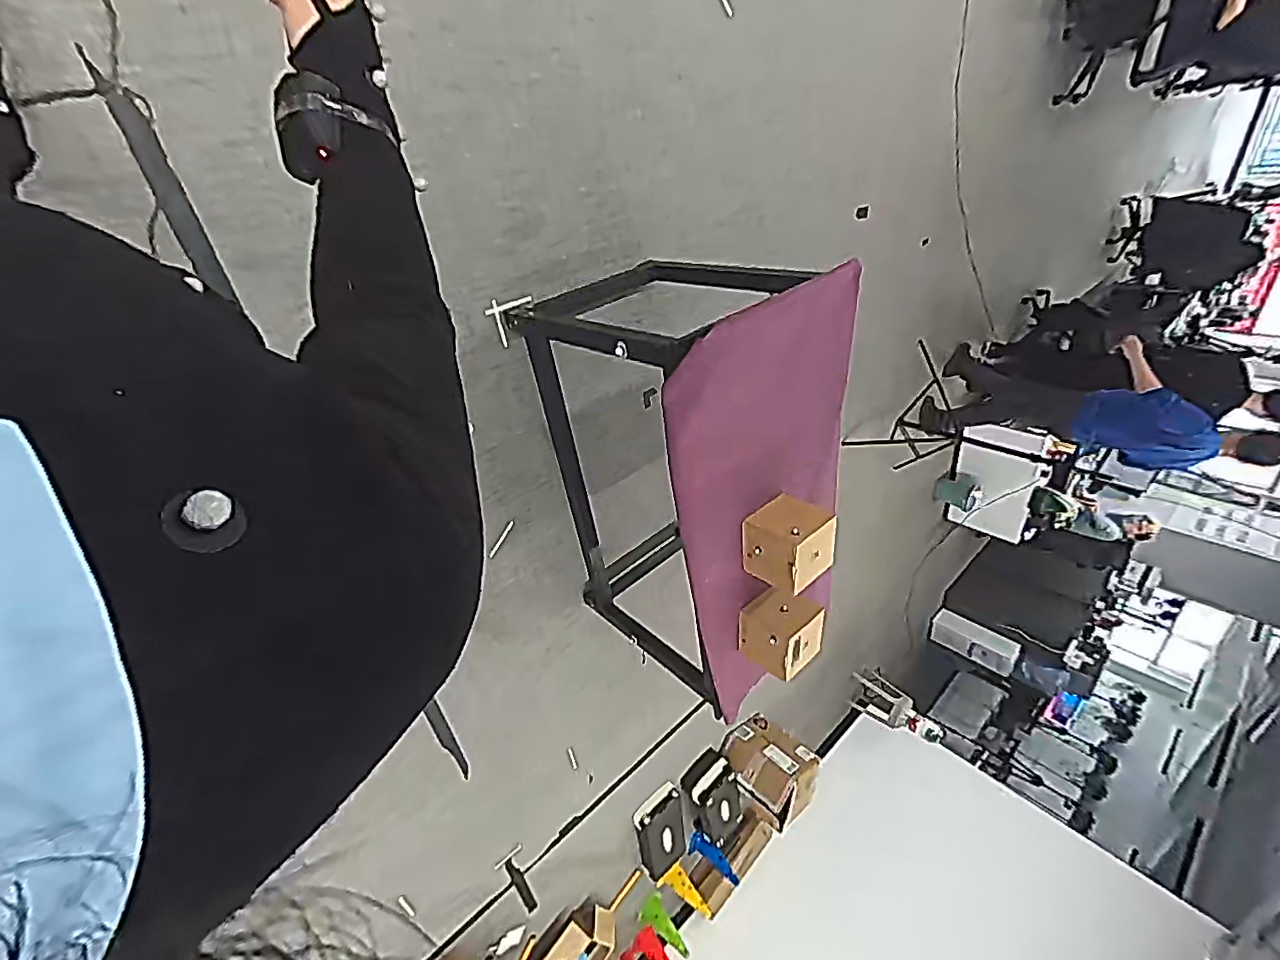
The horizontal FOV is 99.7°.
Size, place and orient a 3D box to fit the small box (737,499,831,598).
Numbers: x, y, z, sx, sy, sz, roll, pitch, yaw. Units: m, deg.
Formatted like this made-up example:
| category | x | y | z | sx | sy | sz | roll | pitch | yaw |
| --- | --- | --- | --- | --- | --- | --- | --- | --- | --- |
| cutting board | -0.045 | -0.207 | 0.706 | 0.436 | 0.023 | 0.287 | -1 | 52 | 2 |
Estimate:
| category | x | y | z | sx | sy | sz | roll | pitch | yaw |
| --- | --- | --- | --- | --- | --- | --- | --- | --- | --- |
| small box | 0.378 | 0.172 | 1.432 | 0.179 | 0.176 | 0.168 | -29 | 127 | -31 |
